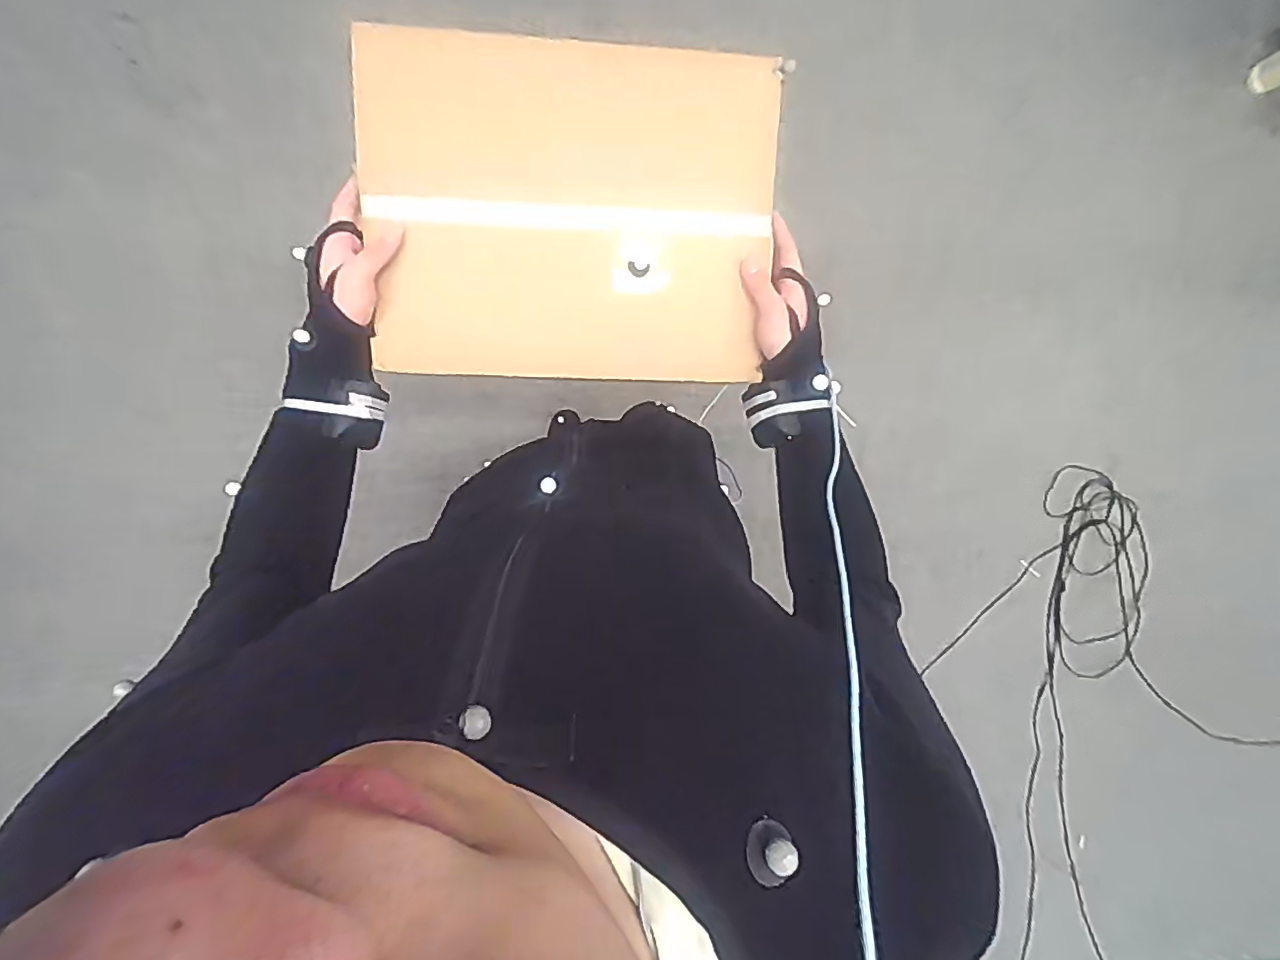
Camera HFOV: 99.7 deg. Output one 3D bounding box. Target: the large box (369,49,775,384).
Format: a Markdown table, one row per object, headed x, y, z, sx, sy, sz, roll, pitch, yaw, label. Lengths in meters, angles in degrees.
| x | y | z | sx | sy | sz | roll | pitch | yaw | label |
| --- | --- | --- | --- | --- | --- | --- | --- | --- | --- |
| -0.077 | -0.285 | 0.700 | 0.408 | 0.320 | 0.320 | 0 | 101 | -5 | large box |
